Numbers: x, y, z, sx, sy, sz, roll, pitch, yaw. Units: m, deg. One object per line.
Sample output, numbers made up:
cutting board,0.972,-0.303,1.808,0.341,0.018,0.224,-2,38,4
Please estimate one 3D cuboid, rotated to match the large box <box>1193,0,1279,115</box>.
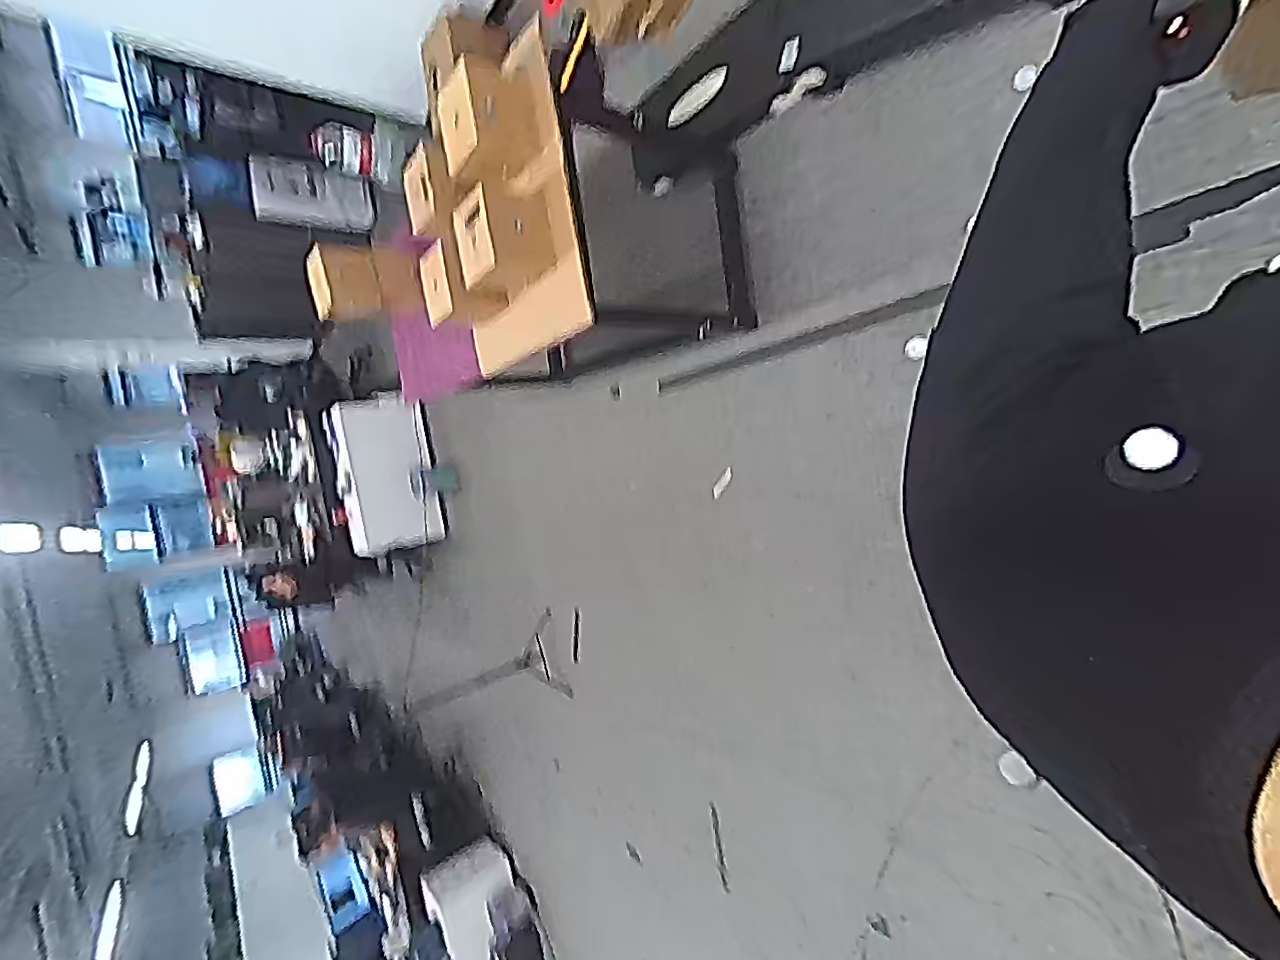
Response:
large box,0.643,-0.466,0.306,0.408,0.320,0.320,18,116,46
